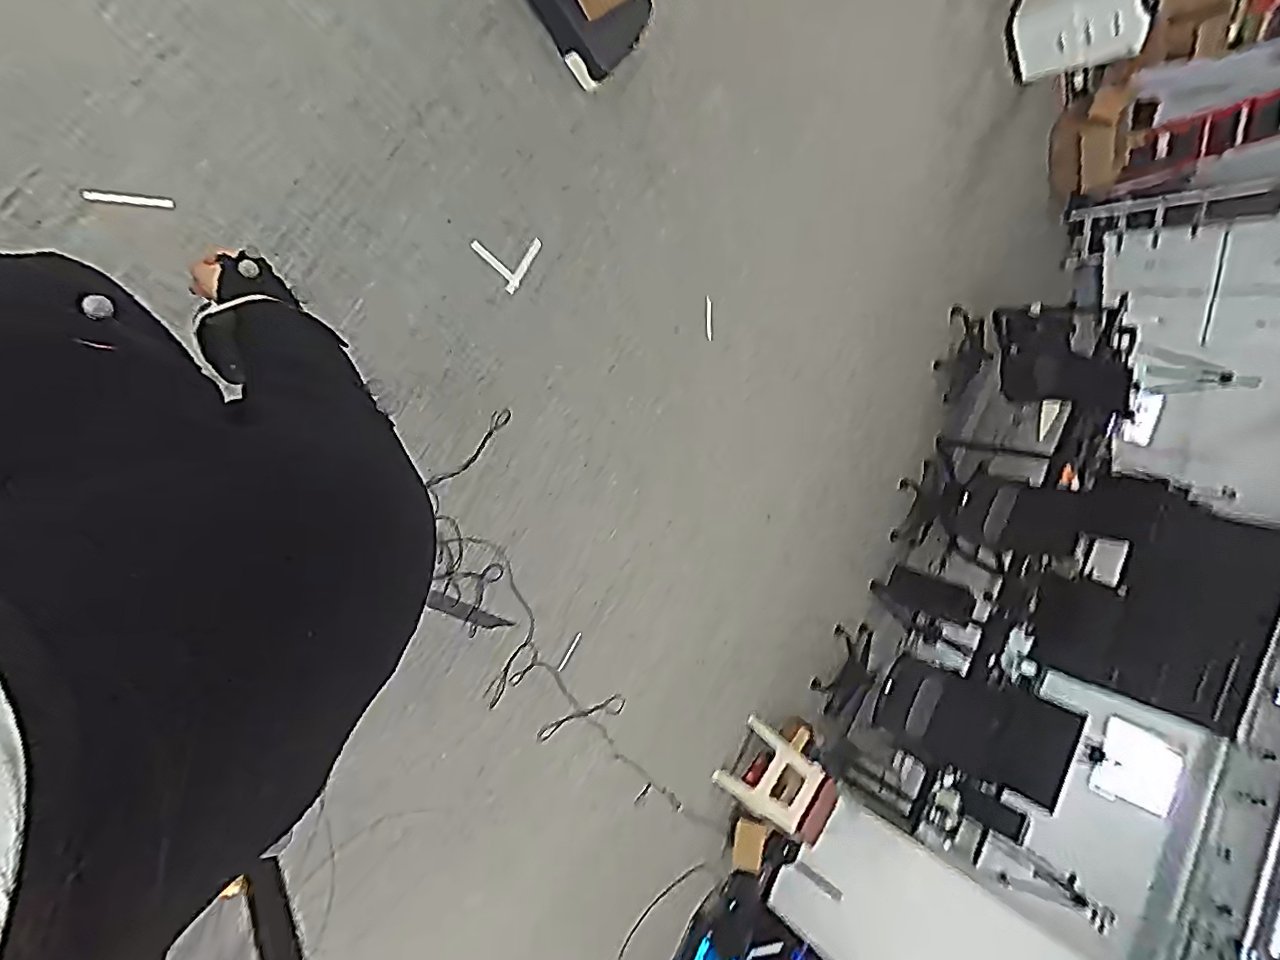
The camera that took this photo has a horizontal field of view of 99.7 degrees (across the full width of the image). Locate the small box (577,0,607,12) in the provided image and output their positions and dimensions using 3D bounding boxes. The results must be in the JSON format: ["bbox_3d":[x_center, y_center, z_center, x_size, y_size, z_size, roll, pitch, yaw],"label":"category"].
[{"bbox_3d":[-0.086,-1.256,1.264,0.168,0.176,0.179,44,72,-43],"label":"small box"}]
